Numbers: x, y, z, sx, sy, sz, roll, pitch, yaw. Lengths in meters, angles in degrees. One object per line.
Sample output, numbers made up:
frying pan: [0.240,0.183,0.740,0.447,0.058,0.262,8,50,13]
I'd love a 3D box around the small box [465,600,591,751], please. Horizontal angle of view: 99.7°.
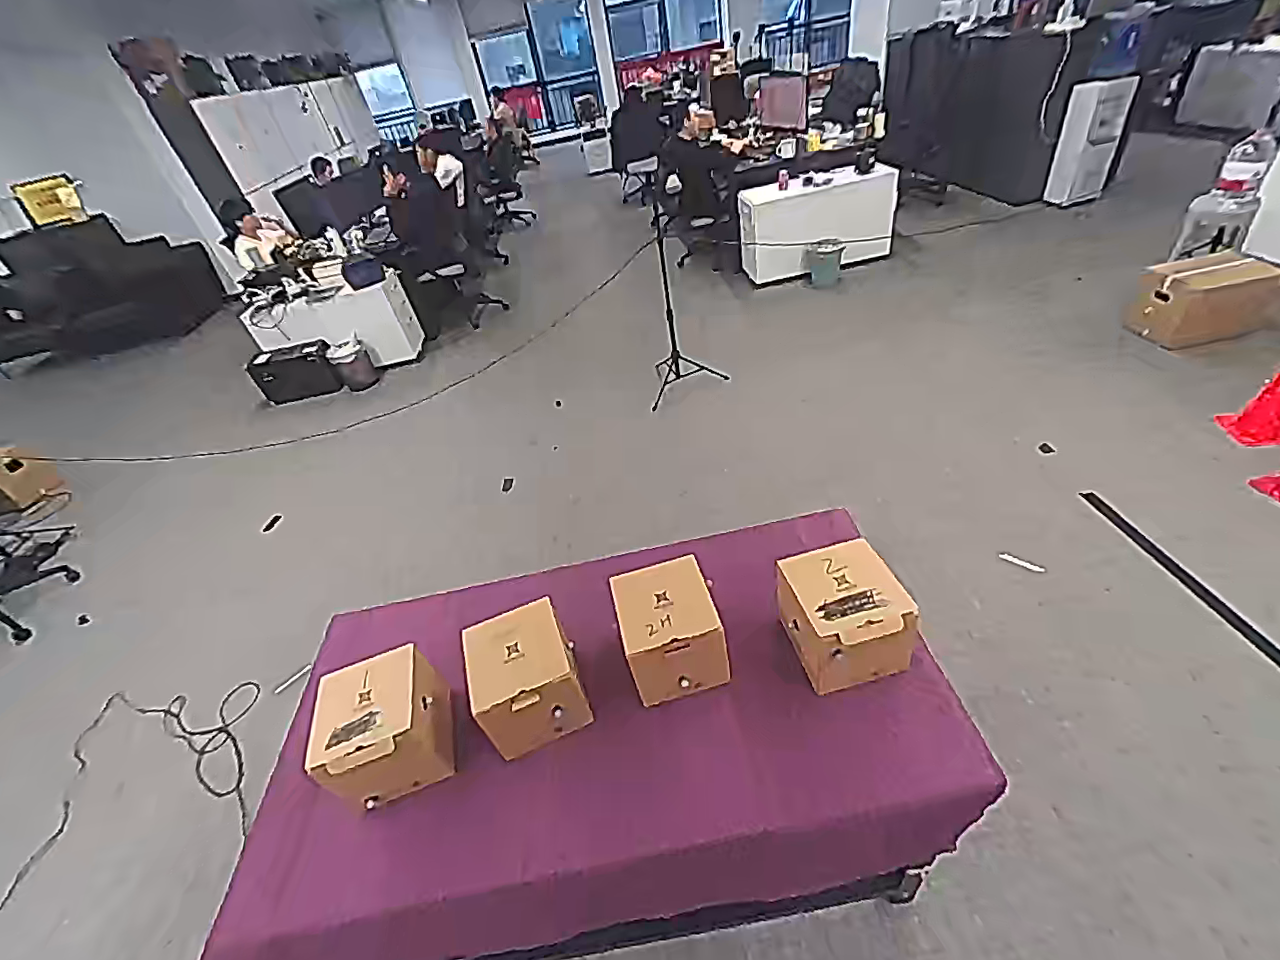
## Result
small box: [-0.199,0.357,0.973,0.168,0.176,0.179,-20,39,-10]

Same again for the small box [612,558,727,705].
small box: [0.054,0.278,0.995,0.168,0.176,0.179,-16,39,-3]

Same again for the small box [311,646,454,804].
small box: [-0.437,0.433,0.945,0.168,0.176,0.179,-19,39,-8]
